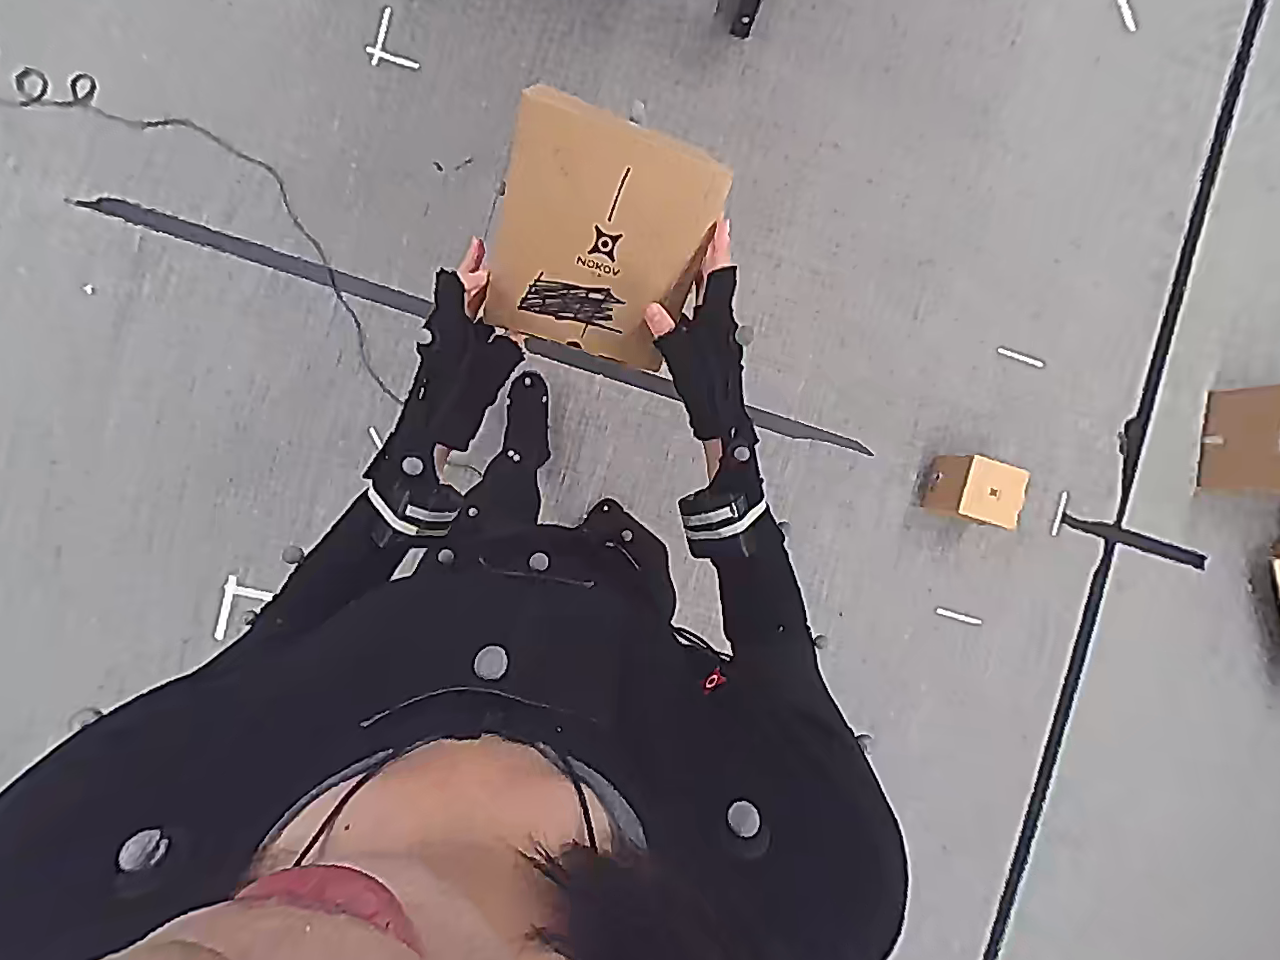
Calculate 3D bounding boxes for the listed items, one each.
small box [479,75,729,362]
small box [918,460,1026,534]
[{"bbox_3d":[-0.040,-0.241,0.501,0.168,0.176,0.179,13,124,-15],"label":"small box"},{"bbox_3d":[0.938,0.044,1.541,0.179,0.176,0.168,16,89,-5],"label":"small box"}]
